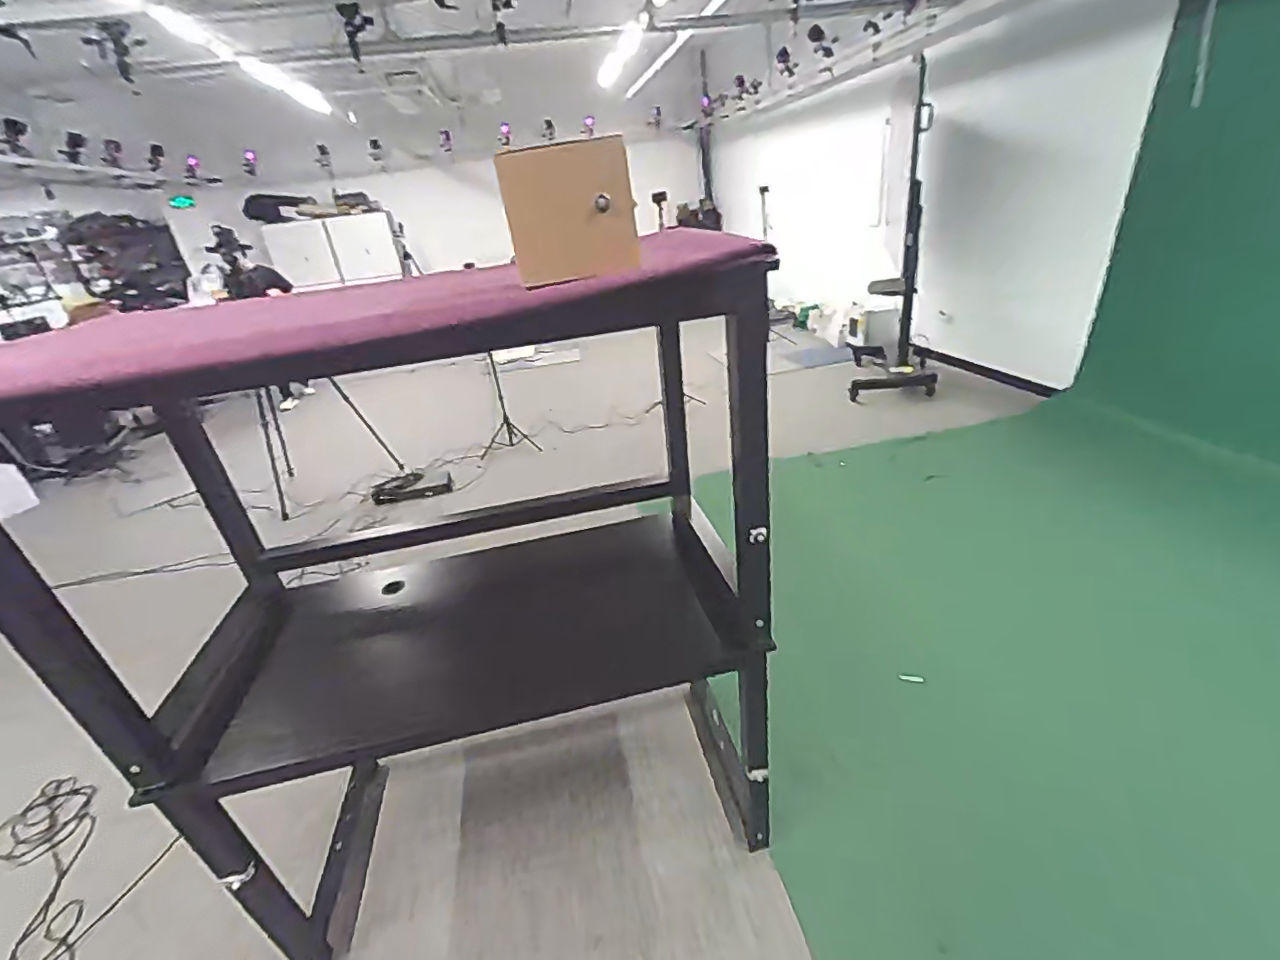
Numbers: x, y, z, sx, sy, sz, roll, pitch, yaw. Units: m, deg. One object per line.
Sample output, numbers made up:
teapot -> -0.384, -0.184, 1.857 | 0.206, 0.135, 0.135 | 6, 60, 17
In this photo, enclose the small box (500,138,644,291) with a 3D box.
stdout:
small box -> -0.091, -0.387, 0.802 | 0.179, 0.176, 0.168 | -10, 24, -2
